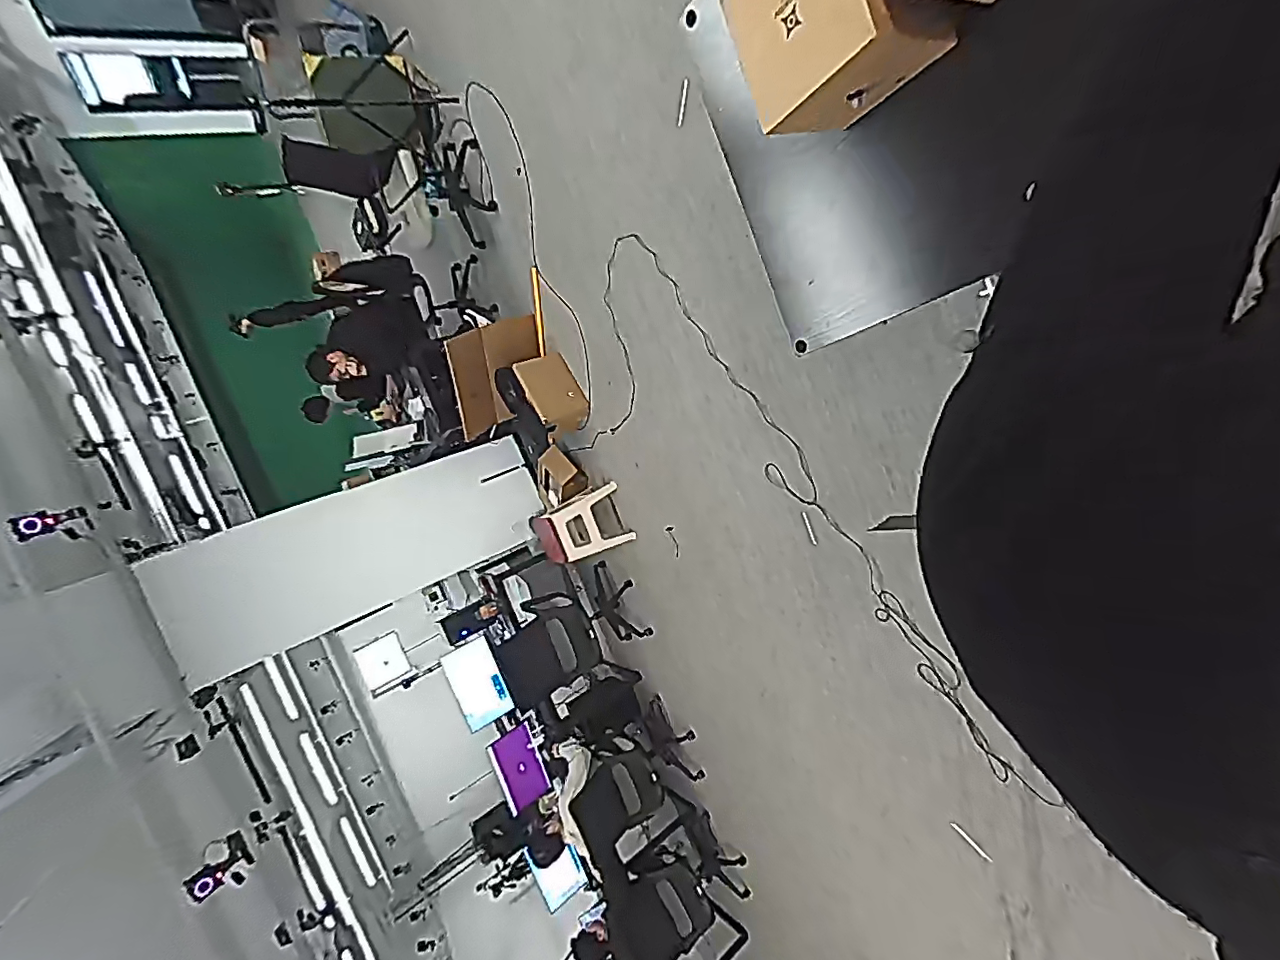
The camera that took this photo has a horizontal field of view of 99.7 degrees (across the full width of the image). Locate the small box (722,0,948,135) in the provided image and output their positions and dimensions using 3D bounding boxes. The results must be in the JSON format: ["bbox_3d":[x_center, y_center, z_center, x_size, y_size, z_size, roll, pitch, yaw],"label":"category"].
[{"bbox_3d":[0.234,-0.553,0.649,0.168,0.176,0.179,-9,102,59],"label":"small box"}]
